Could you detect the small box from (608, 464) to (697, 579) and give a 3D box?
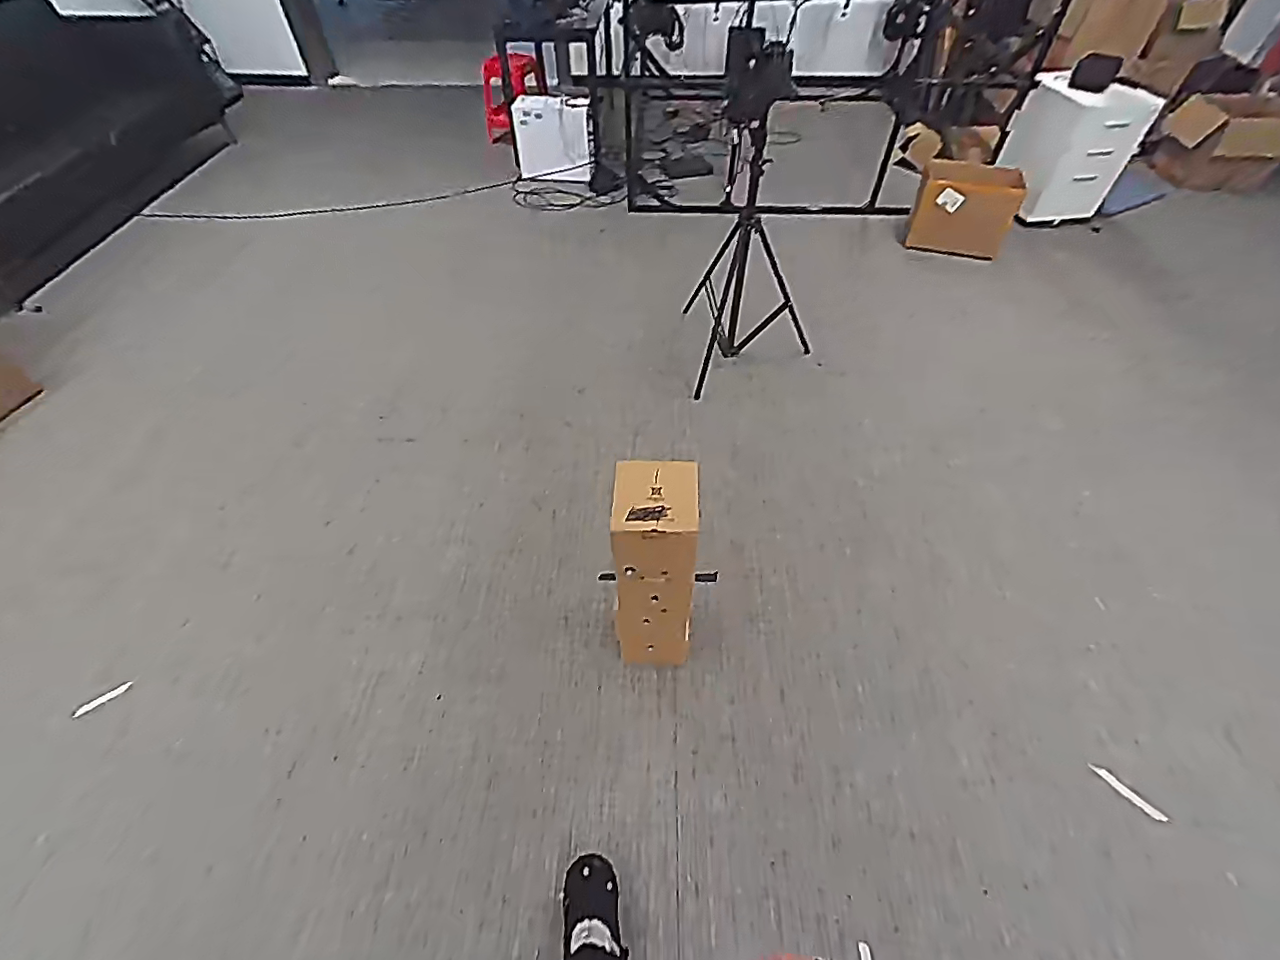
[{"bbox_3d":[0.030,0.088,1.100,0.168,0.176,0.179,2,50,3],"label":"small box"}]

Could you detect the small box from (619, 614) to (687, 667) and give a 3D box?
[{"bbox_3d":[0.036,0.402,1.480,0.179,0.176,0.168,1,51,2],"label":"small box"}]

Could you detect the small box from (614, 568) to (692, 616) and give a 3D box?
[{"bbox_3d":[0.035,0.194,1.226,0.168,0.176,0.179,2,52,3],"label":"small box"}]

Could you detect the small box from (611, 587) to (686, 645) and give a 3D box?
[{"bbox_3d":[0.027,0.300,1.351,0.179,0.176,0.168,3,52,3],"label":"small box"}]
